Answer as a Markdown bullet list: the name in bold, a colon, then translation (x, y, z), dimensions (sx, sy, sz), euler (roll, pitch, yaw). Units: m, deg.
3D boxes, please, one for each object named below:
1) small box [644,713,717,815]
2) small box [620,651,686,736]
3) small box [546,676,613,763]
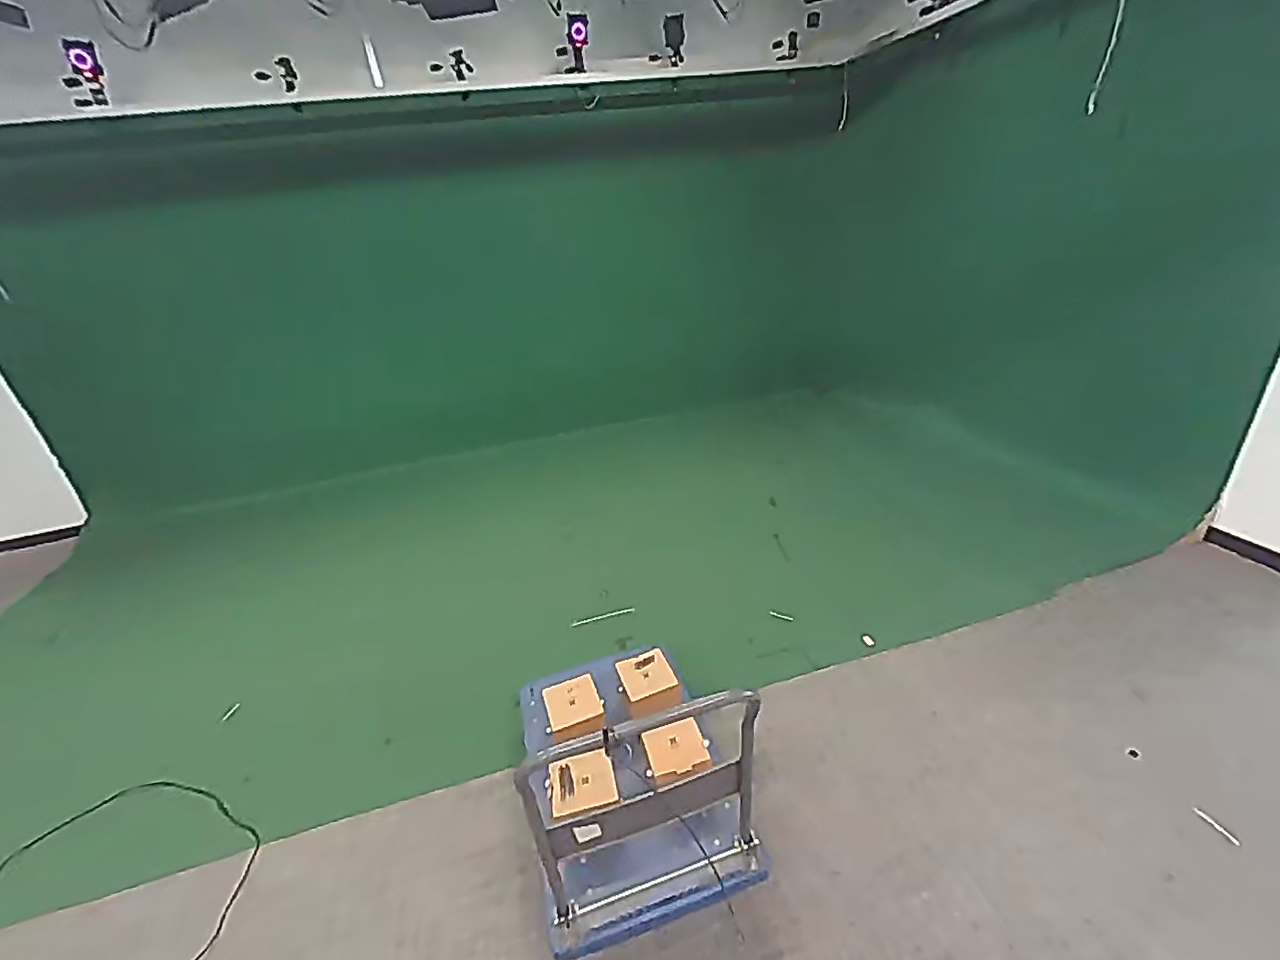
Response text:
- **small box**: translation (0.116, 0.820, 1.564), dimensions (0.168, 0.176, 0.179), euler (-13, 28, -11)
- **small box**: translation (0.042, 0.710, 1.799), dimensions (0.168, 0.176, 0.179), euler (-15, 29, -14)
- **small box**: translation (-0.192, 0.773, 1.733), dimensions (0.168, 0.176, 0.179), euler (-14, 27, -15)
